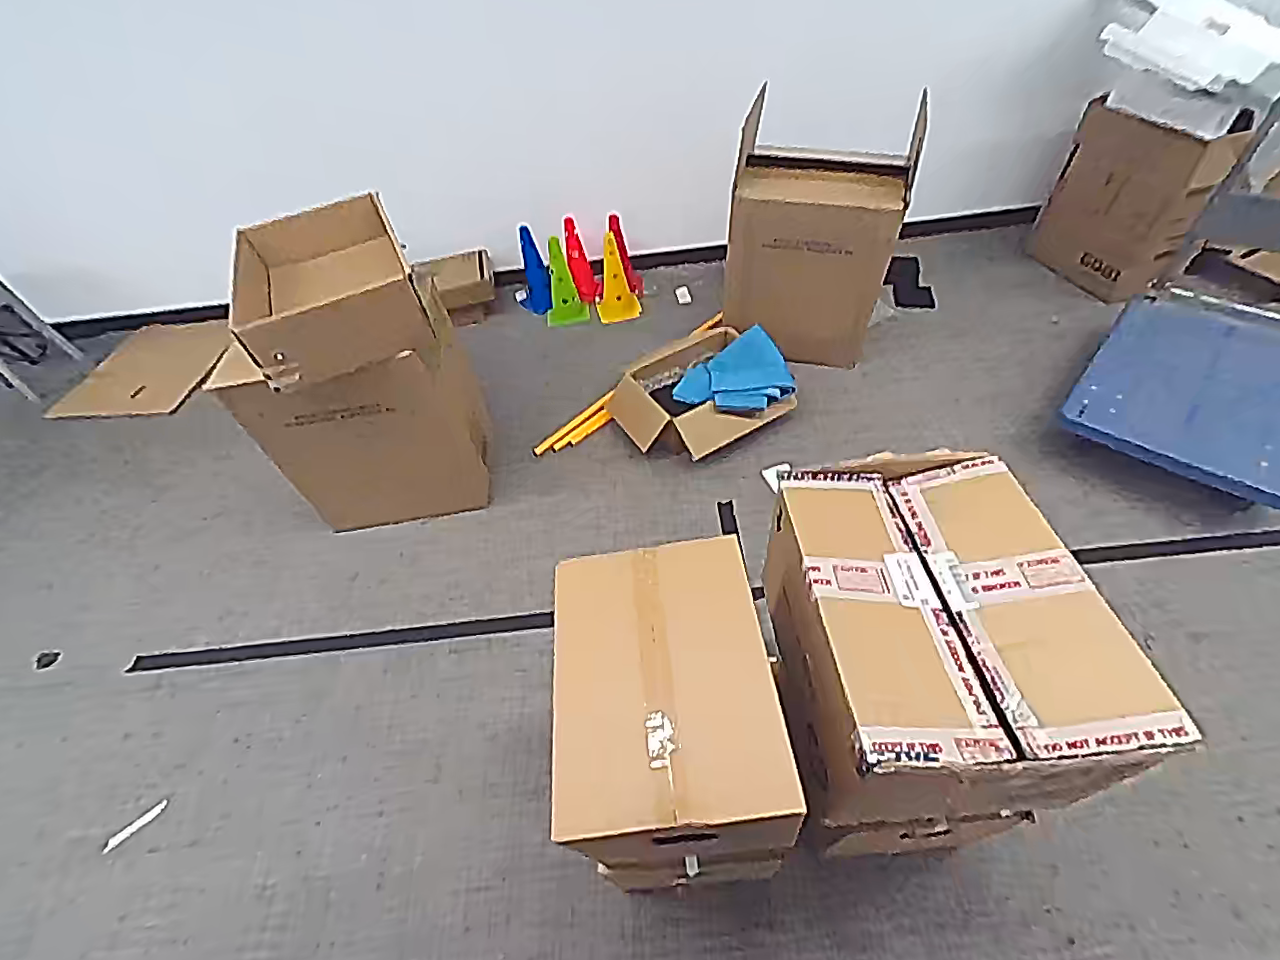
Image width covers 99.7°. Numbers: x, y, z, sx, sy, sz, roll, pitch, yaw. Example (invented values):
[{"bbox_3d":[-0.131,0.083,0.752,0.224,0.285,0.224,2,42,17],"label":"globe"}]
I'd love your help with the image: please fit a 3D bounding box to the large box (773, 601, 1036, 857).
[{"bbox_3d":[0.494,0.516,1.130,0.320,0.320,0.408,-7,49,1],"label":"large box"}]
